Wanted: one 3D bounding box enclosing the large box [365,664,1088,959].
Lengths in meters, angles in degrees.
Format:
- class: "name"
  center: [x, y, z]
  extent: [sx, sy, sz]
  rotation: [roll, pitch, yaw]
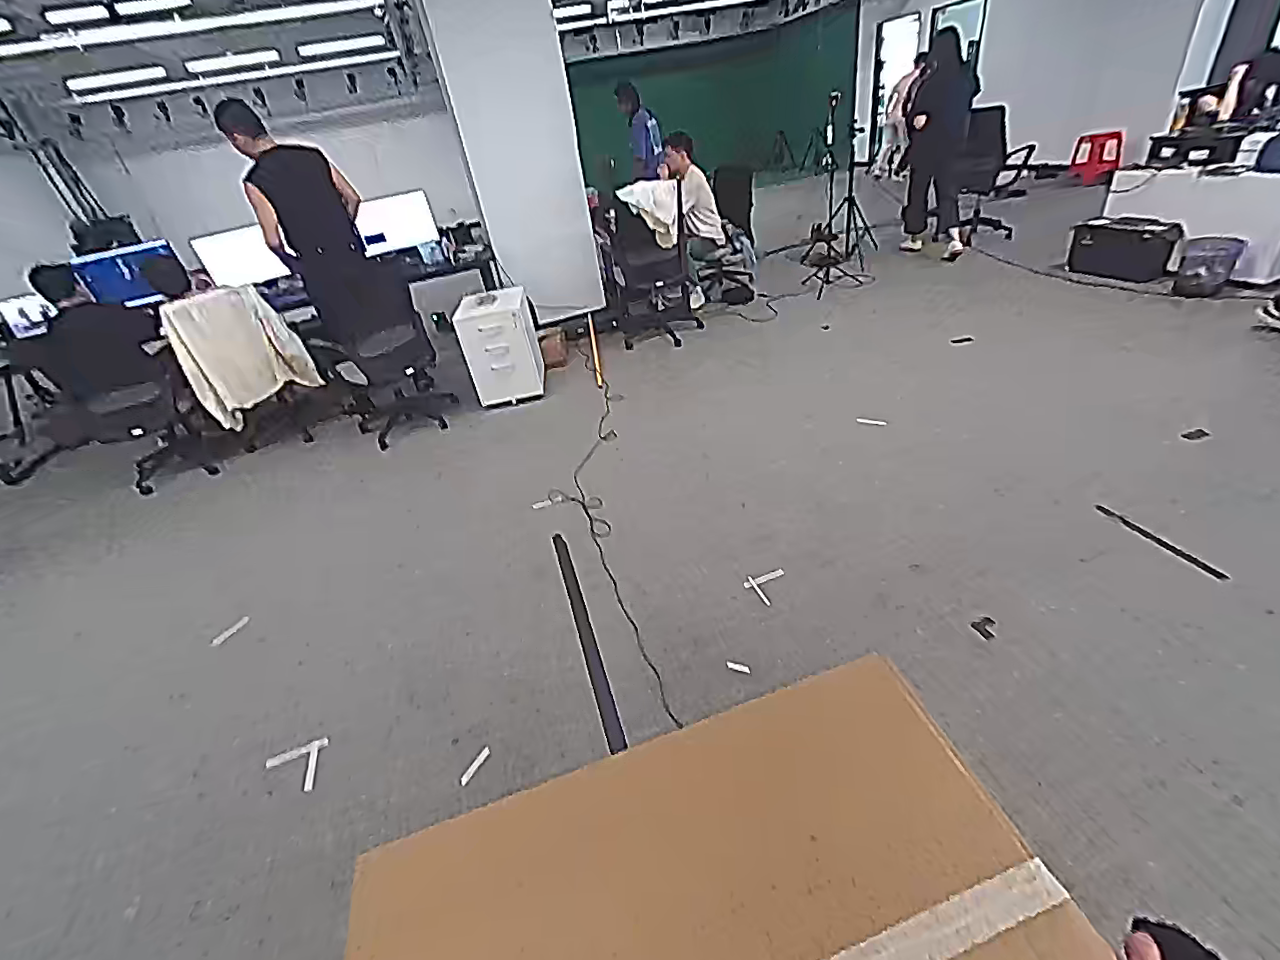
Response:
- class: "large box"
  center: [0.068, 0.407, 0.390]
  extent: [0.408, 0.320, 0.320]
  rotation: [-18, 41, -8]
